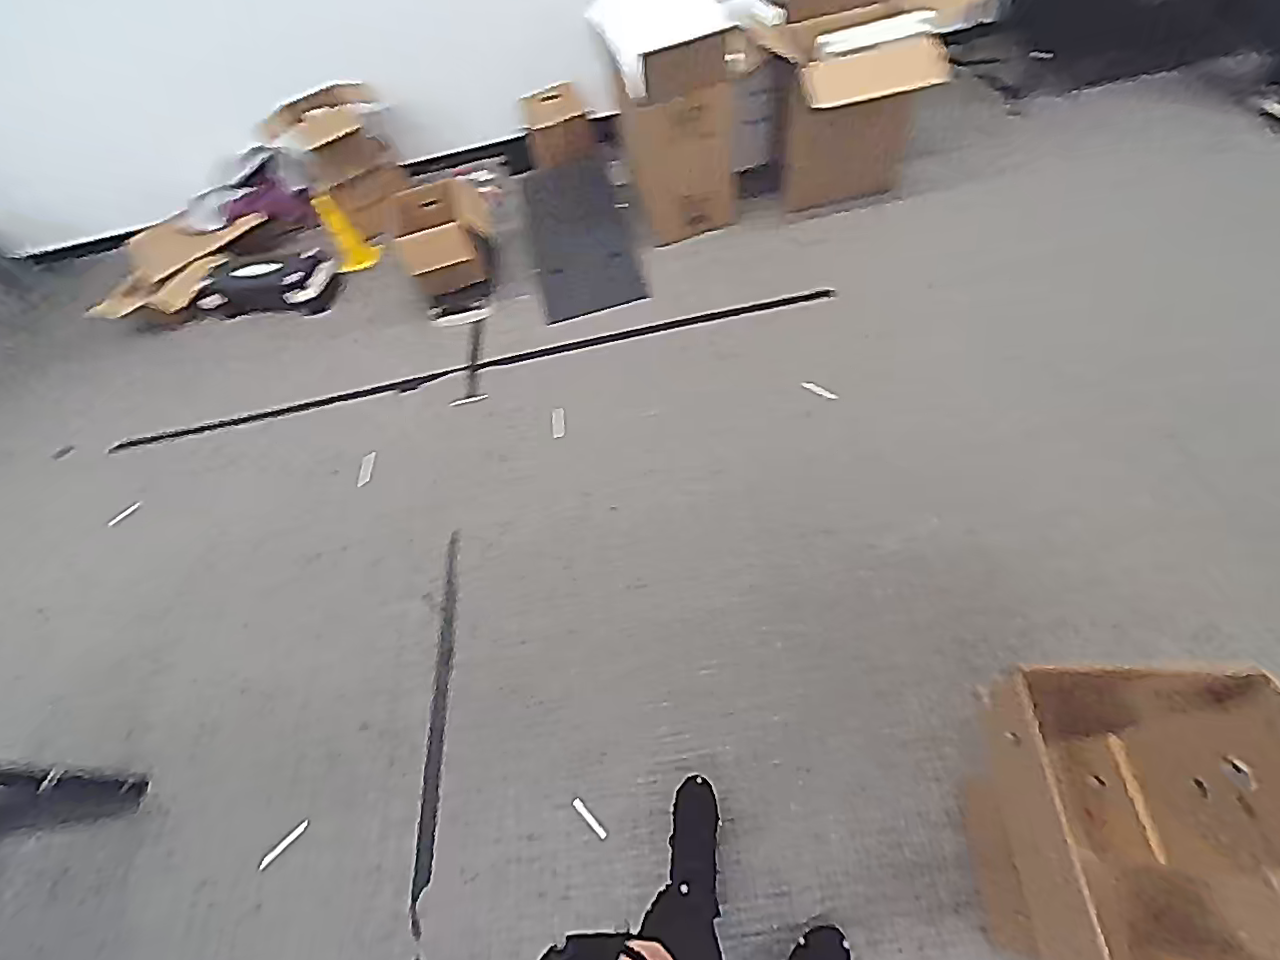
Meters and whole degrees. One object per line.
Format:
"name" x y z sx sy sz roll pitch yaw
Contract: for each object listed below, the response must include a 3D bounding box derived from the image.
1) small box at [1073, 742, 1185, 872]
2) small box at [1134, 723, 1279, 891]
"small box" 0.824 0.510 0.842 0.179 0.176 0.168 -3 58 8
"small box" 0.807 0.425 0.701 0.168 0.176 0.179 -2 58 9
